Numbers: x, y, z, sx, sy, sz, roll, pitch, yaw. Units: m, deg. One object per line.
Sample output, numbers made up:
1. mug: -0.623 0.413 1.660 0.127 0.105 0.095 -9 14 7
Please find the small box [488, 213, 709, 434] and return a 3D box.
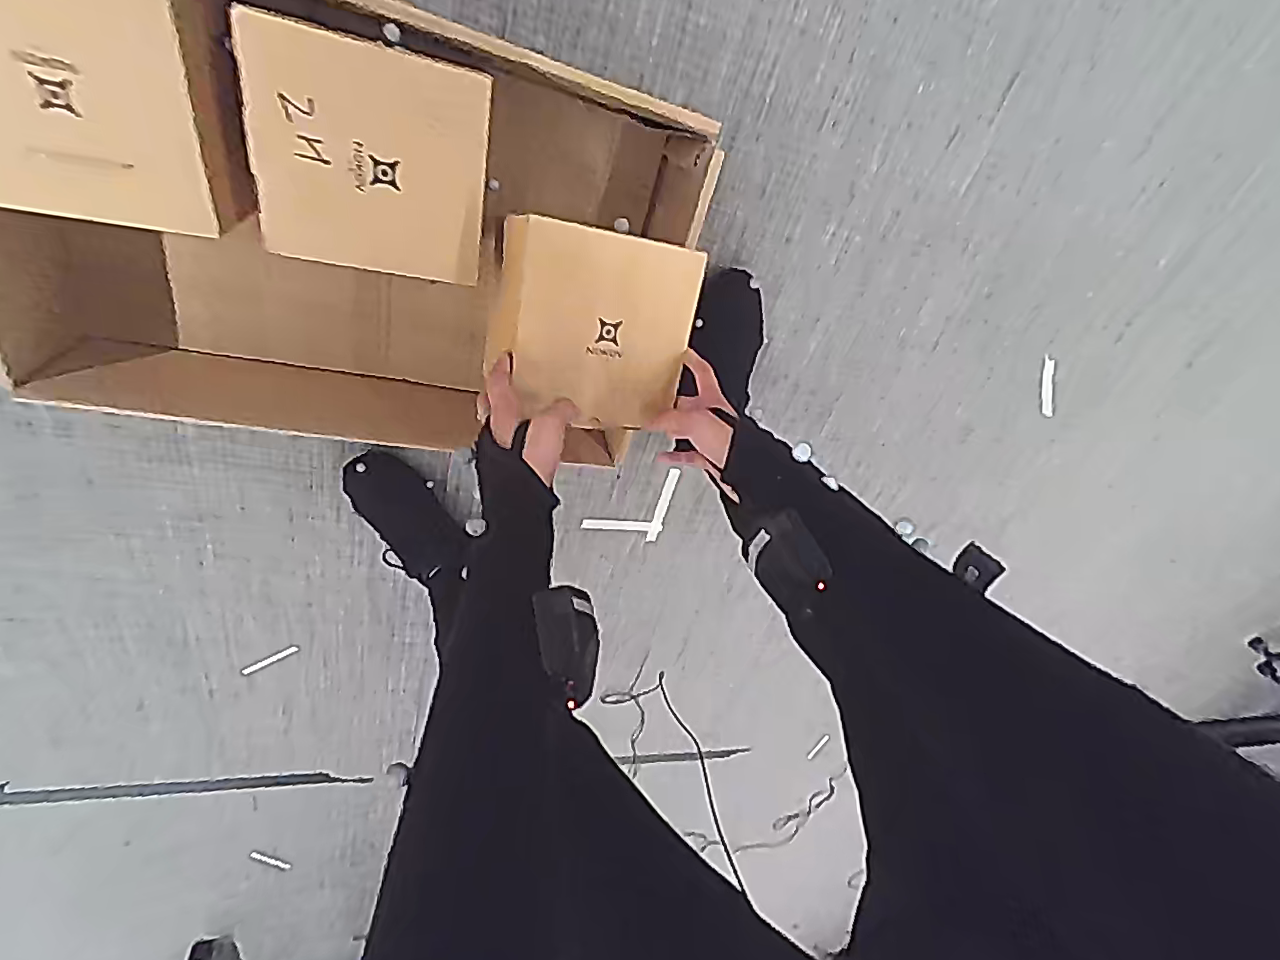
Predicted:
1. small box: -0.056 -0.160 0.547 0.168 0.176 0.179 1 116 -24
